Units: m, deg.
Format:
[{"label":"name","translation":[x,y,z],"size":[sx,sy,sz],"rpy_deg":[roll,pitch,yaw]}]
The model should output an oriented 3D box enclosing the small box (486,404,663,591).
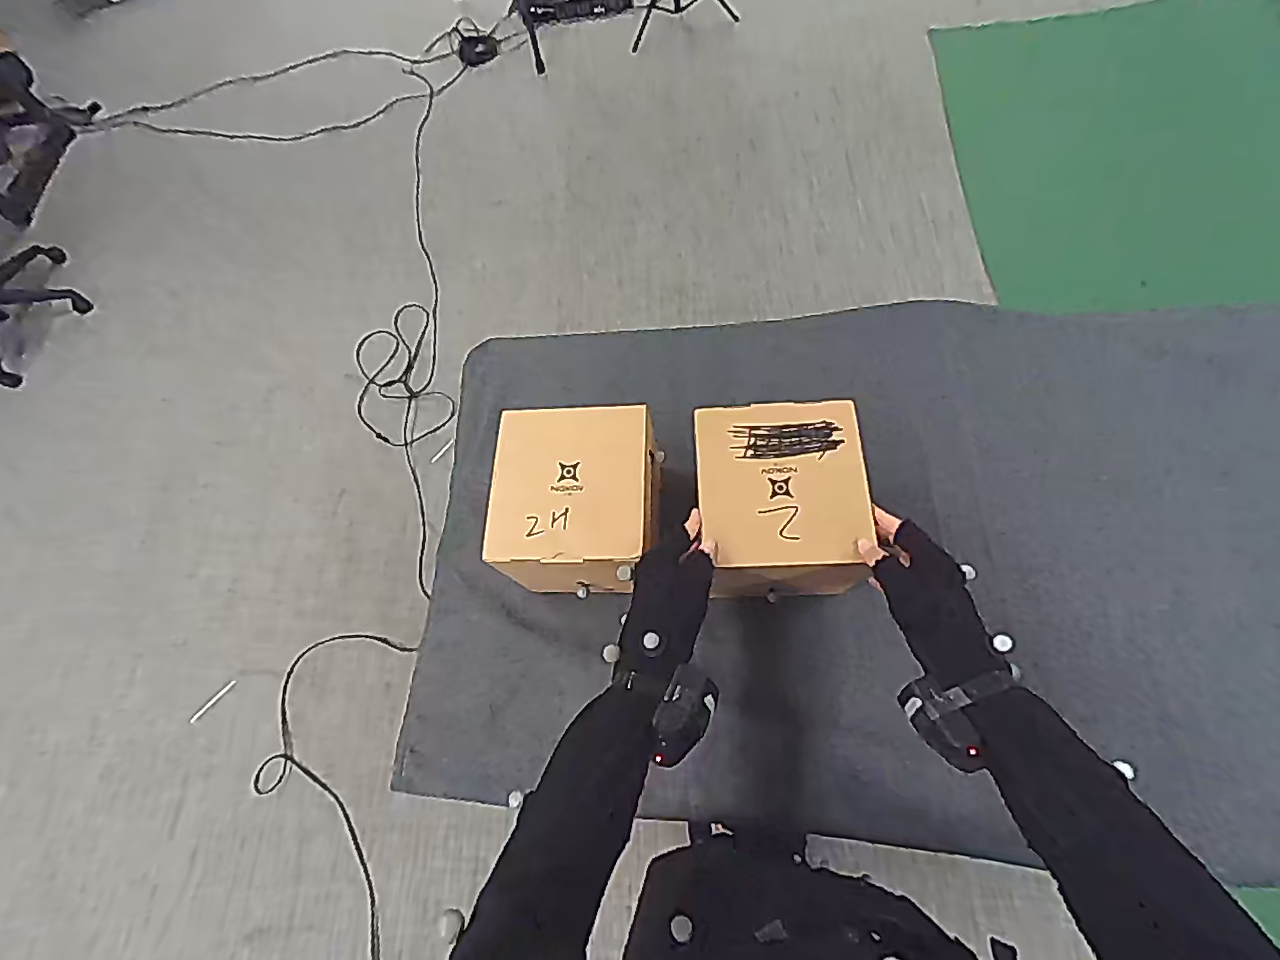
[{"label":"small box","translation":[-0.063,0.027,0.643],"size":[0.168,0.176,0.179],"rpy_deg":[-1,68,7]}]
